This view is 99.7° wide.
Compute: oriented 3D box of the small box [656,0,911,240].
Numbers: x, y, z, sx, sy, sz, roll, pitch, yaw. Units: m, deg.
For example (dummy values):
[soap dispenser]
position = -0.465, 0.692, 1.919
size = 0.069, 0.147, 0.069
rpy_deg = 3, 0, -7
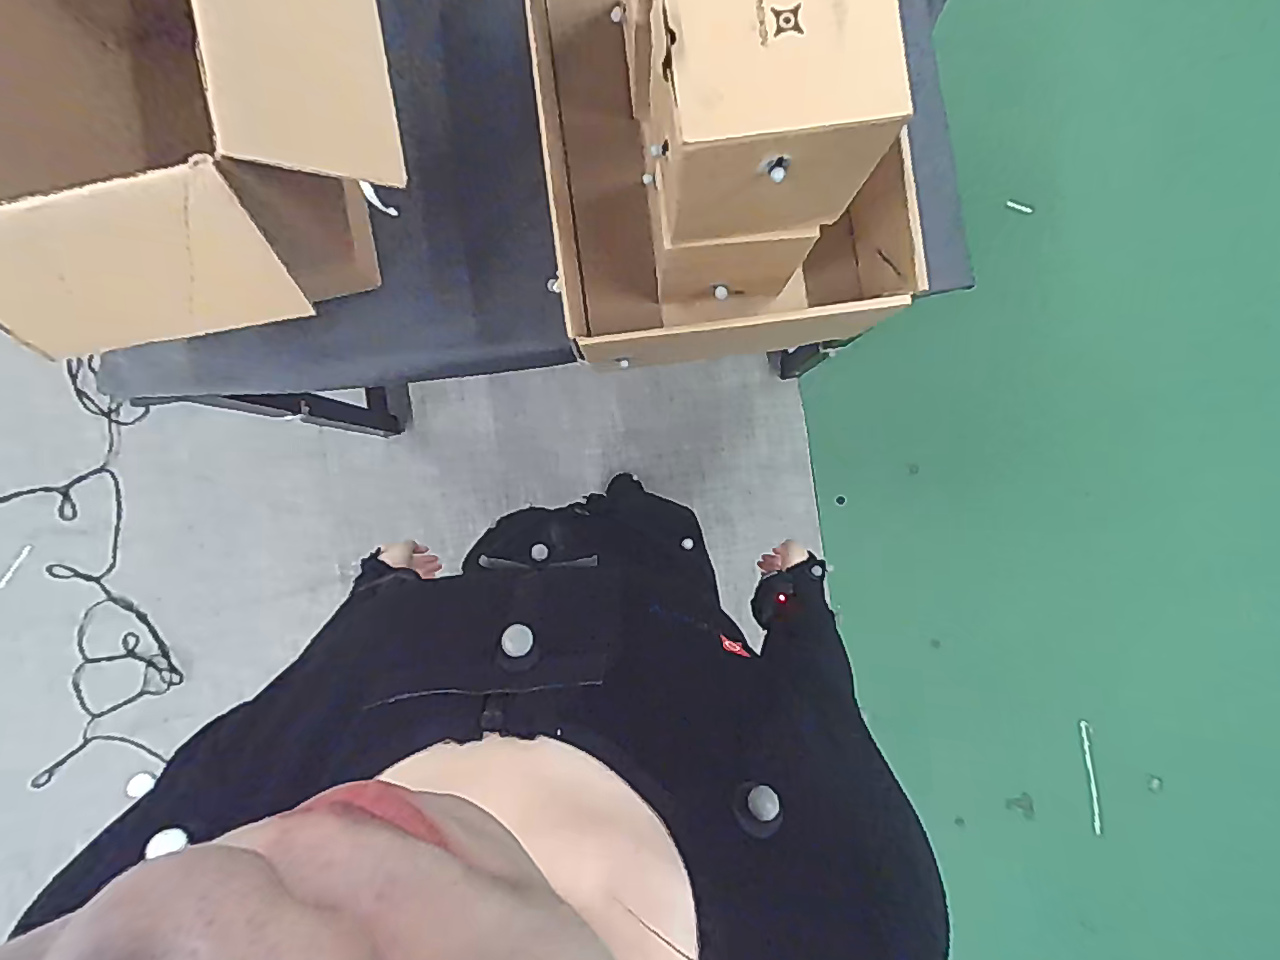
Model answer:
[small box]
position = 0.108, -0.336, 0.484
size = 0.179, 0.176, 0.168
rpy_deg = -7, 90, 0
